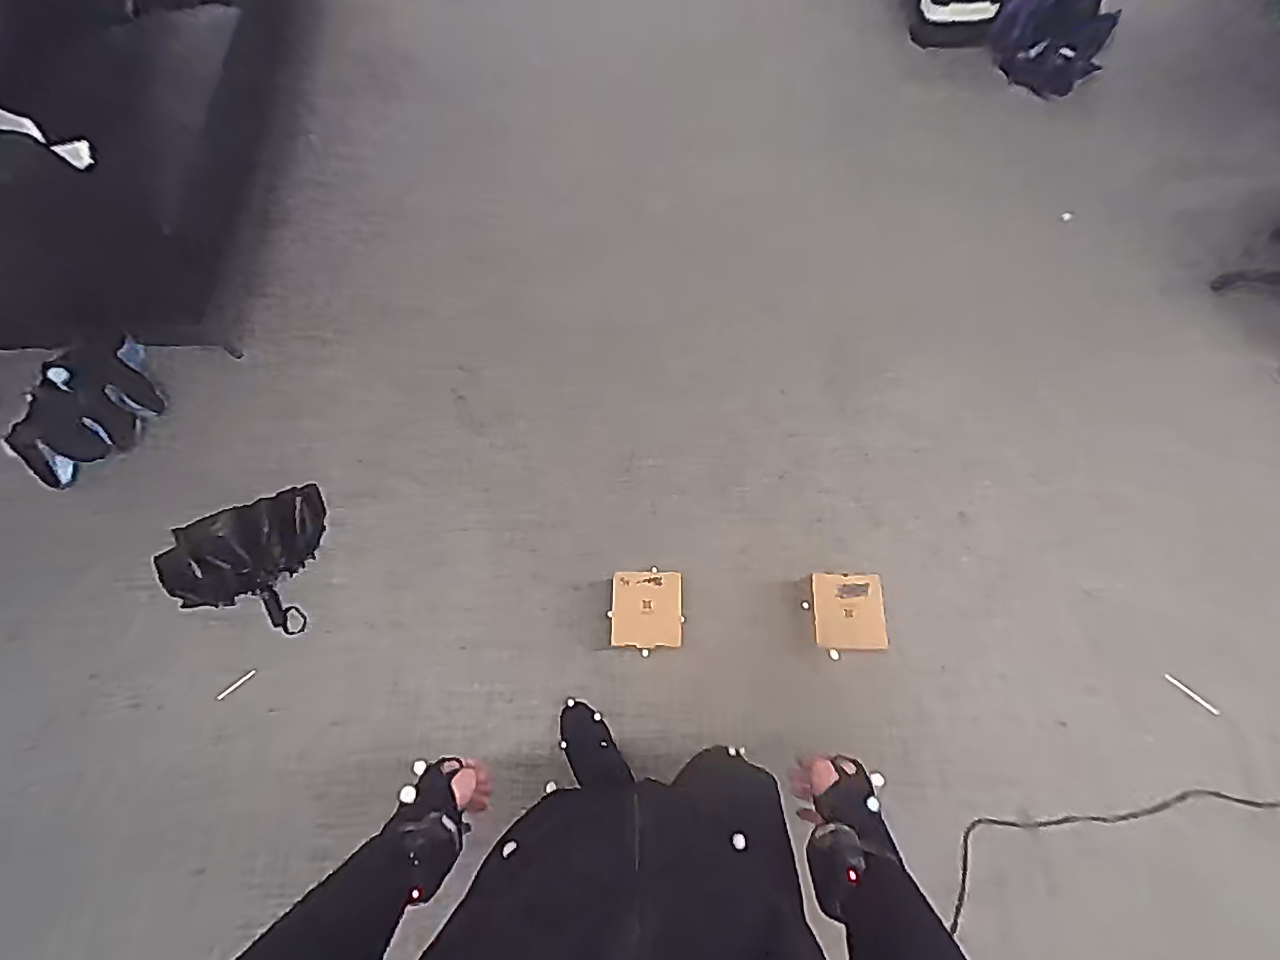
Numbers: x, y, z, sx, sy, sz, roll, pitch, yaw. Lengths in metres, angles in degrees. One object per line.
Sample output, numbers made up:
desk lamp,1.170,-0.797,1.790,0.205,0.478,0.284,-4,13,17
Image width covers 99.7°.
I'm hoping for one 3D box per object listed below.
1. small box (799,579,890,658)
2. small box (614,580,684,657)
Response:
small box,0.502,0.350,1.354,0.168,0.176,0.179,1,70,2
small box,0.026,0.354,1.365,0.168,0.176,0.179,1,69,1
